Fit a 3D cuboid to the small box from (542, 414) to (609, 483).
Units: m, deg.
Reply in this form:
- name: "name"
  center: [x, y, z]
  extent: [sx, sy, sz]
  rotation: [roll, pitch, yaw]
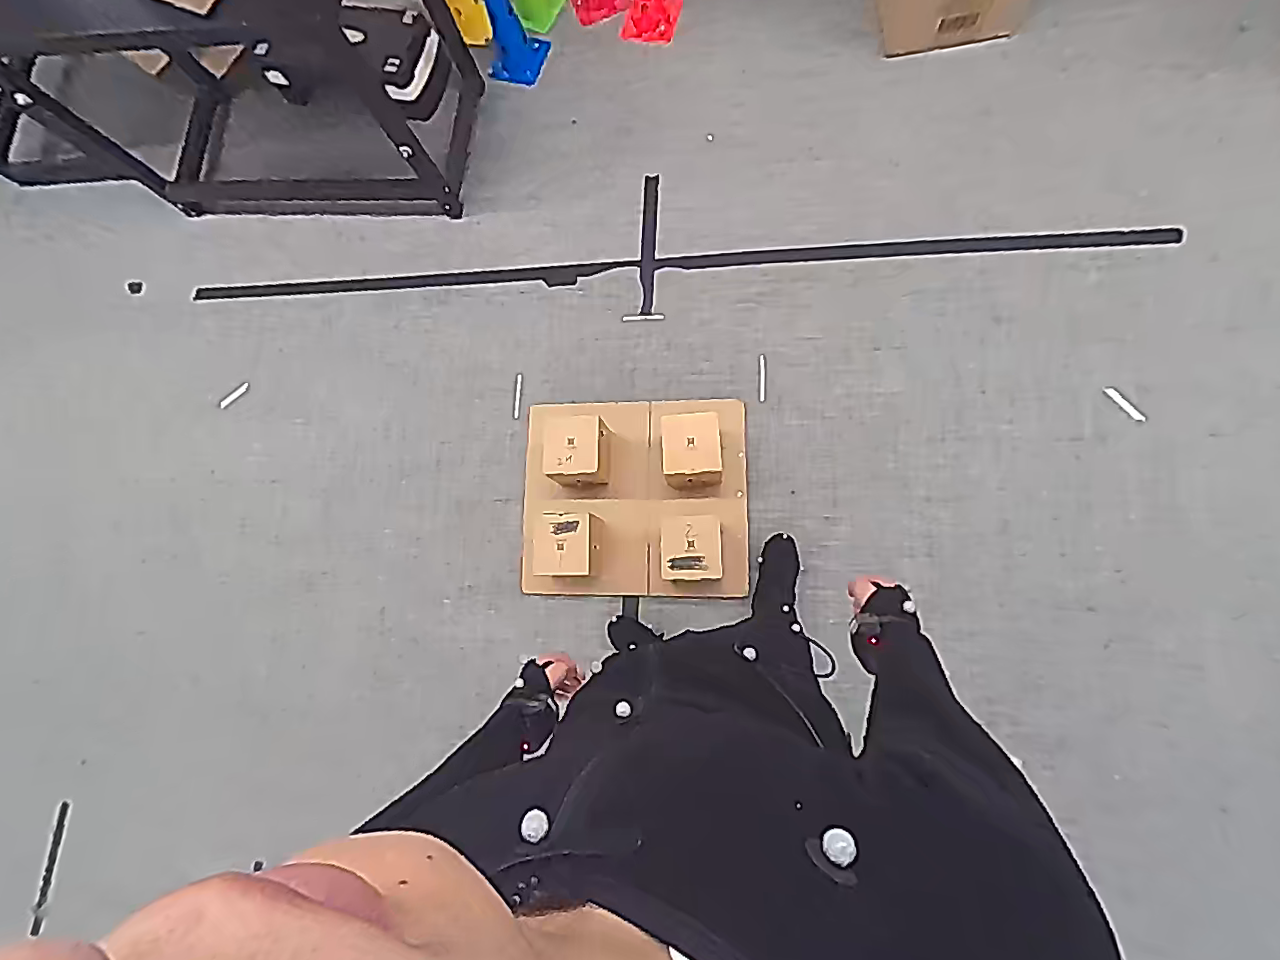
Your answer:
- name: "small box"
  center: [-0.191, -0.091, 1.639]
  extent: [0.168, 0.176, 0.179]
  rotation: [-1, 80, 9]

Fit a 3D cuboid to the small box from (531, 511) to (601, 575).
- name: "small box"
  center: [-0.213, 0.189, 1.590]
  extent: [0.168, 0.176, 0.179]
  rotation: [-2, 80, 9]

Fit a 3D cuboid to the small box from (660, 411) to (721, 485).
- name: "small box"
  center: [0.151, -0.090, 1.596]
  extent: [0.168, 0.176, 0.179]
  rotation: [-4, 79, 7]
